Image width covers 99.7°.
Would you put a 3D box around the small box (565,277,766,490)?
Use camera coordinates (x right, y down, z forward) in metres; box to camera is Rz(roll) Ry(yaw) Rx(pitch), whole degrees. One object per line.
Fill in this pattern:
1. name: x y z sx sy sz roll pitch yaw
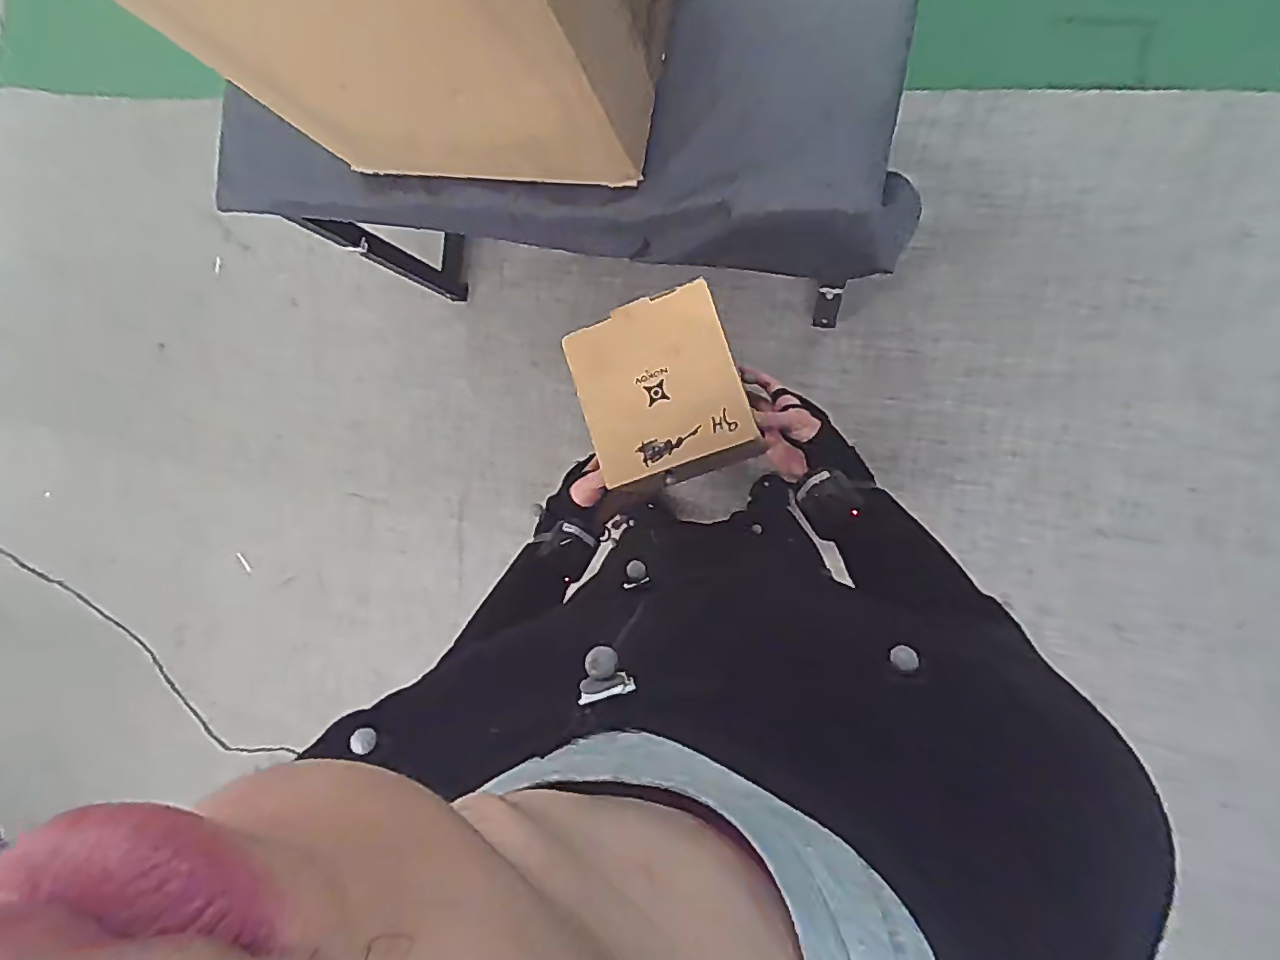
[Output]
1. small box: 0.039 -0.095 0.627 0.168 0.176 0.179 -20 82 14
